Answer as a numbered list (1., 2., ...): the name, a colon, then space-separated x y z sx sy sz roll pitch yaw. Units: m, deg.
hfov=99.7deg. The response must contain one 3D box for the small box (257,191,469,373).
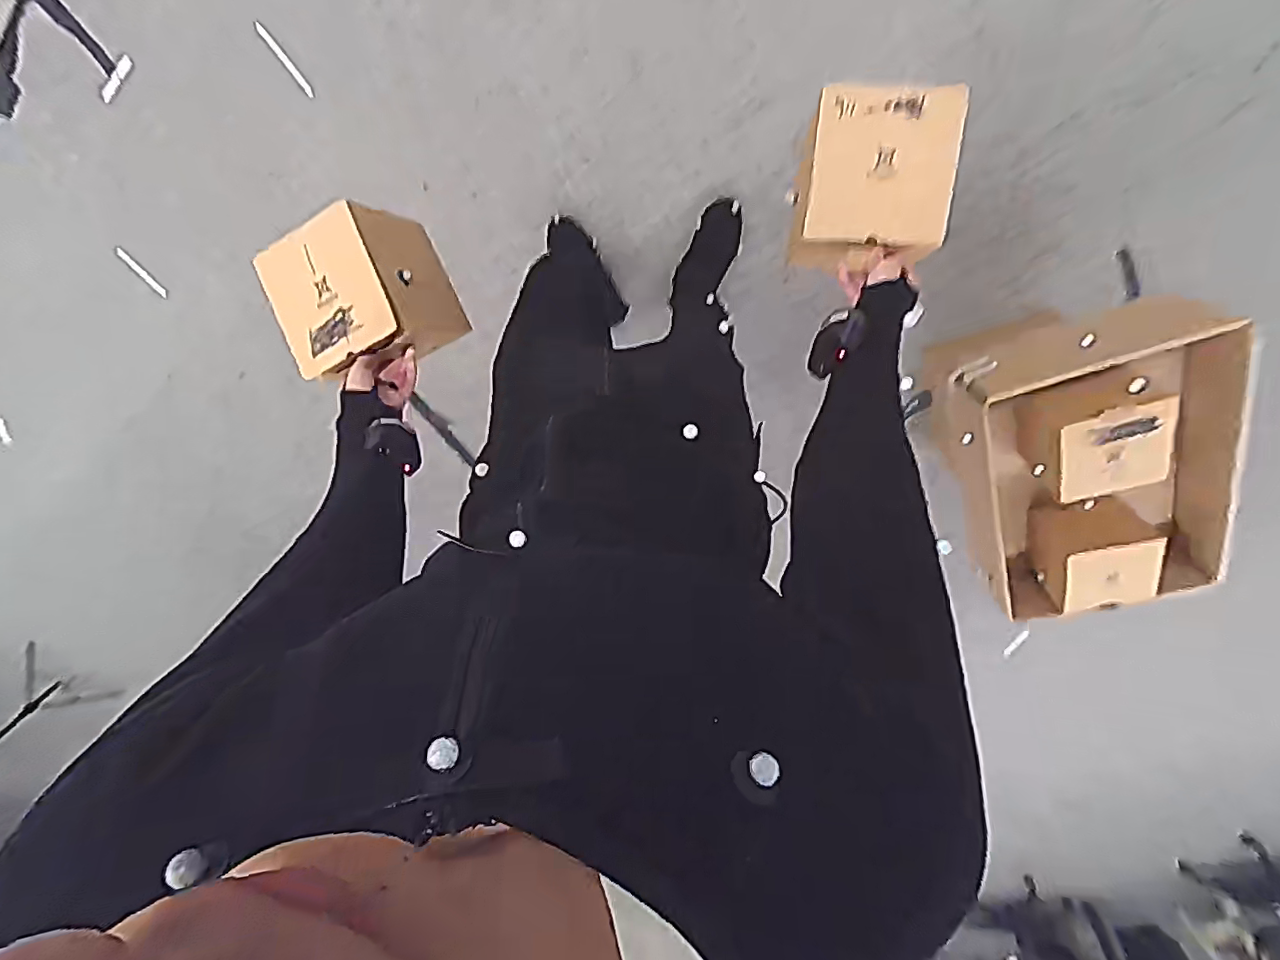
1. small box: -0.376 -0.269 0.767 0.168 0.176 0.179 -21 99 16

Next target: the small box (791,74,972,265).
1. small box: 0.298 -0.392 0.711 0.168 0.176 0.179 7 100 7
